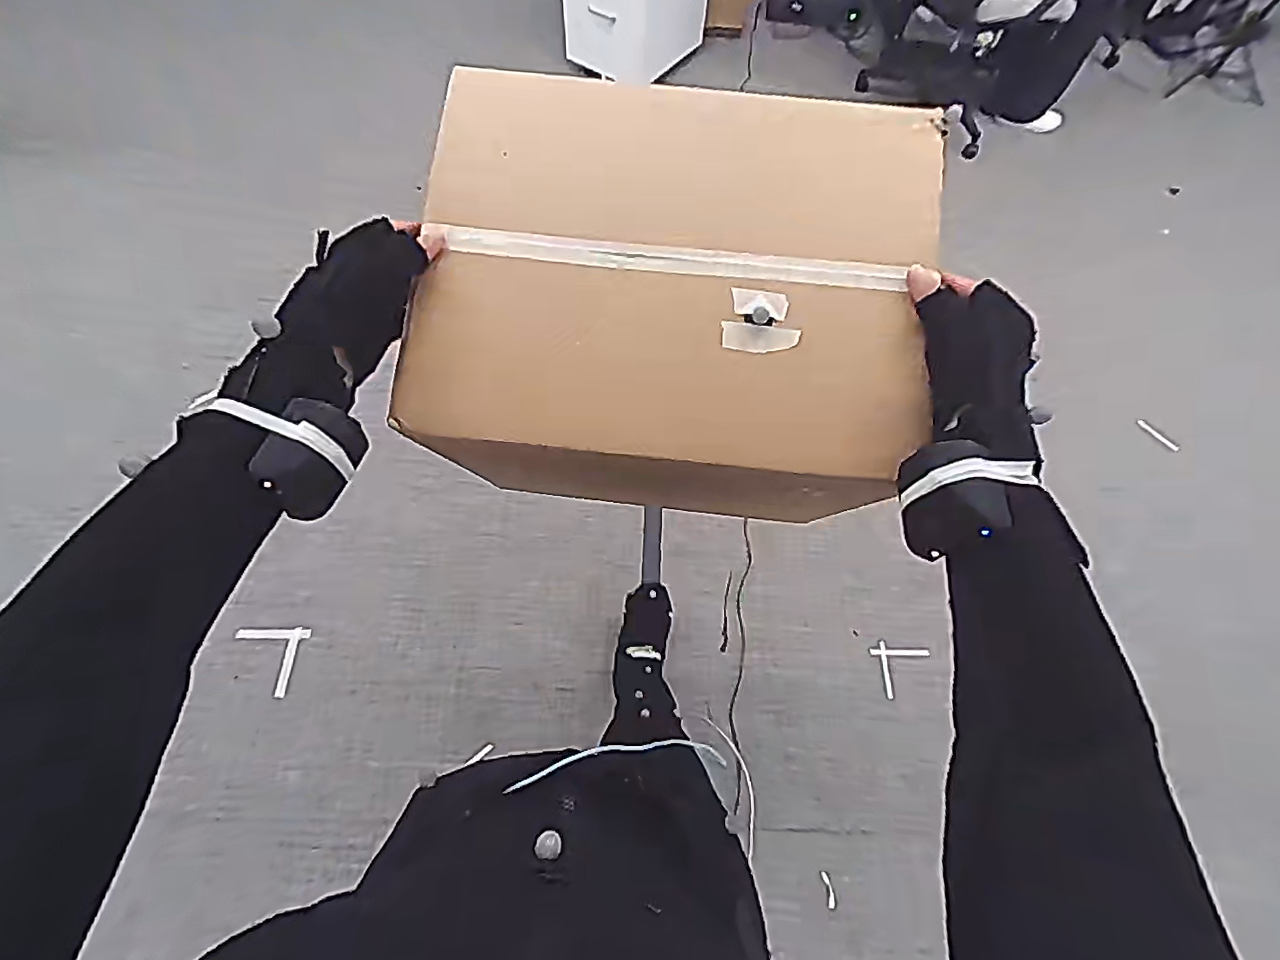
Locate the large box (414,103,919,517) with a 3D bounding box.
[{"bbox_3d":[0.028,-0.141,0.593,0.408,0.320,0.320,6,81,1],"label":"large box"}]
